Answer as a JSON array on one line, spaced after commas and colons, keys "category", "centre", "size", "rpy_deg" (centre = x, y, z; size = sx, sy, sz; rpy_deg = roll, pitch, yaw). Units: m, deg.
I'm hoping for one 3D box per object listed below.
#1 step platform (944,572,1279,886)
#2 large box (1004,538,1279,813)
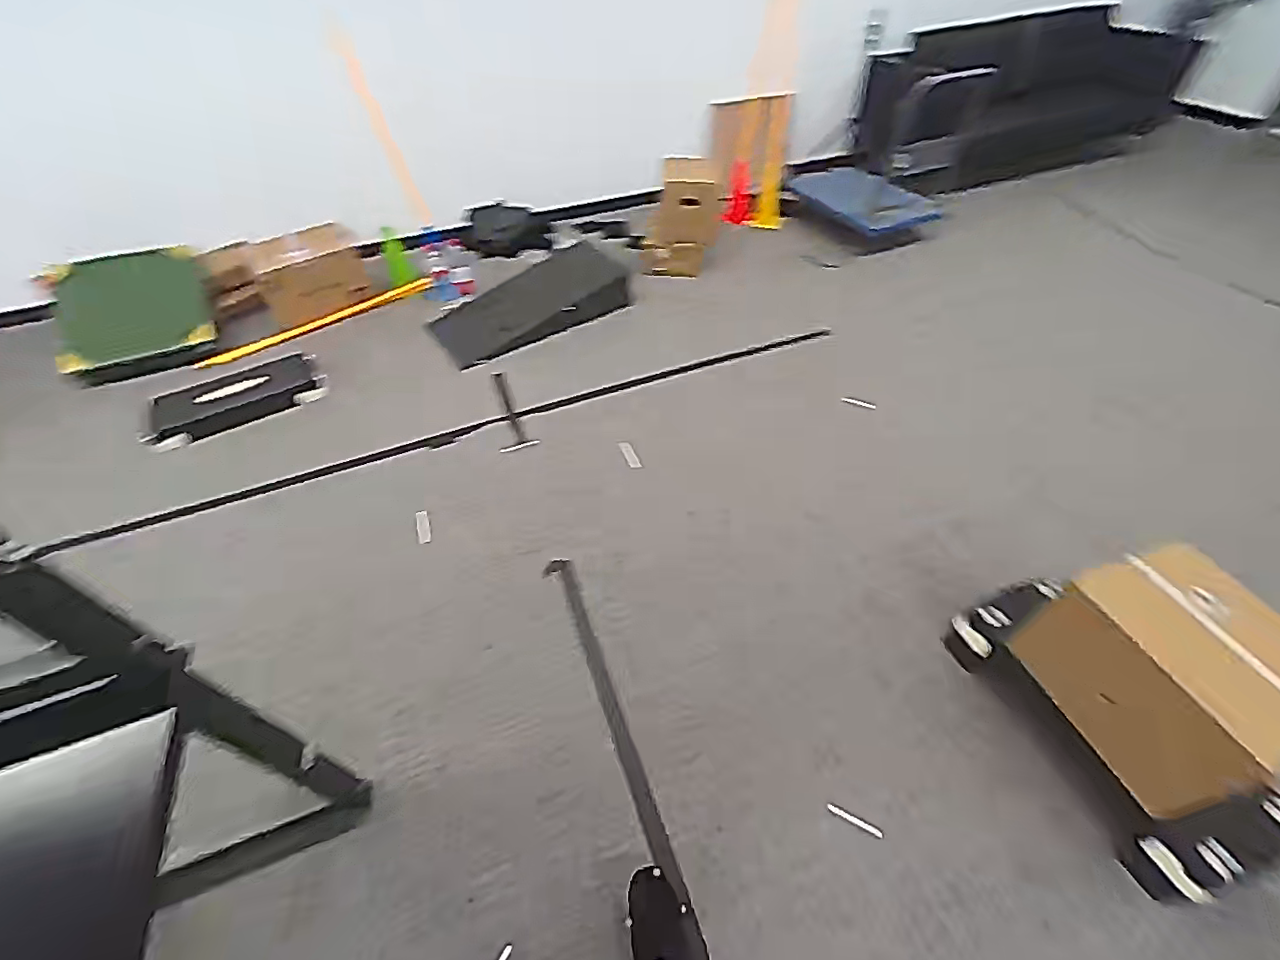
[{"category": "step platform", "centre": [1.095, 0.556, 1.329], "size": [0.286, 0.204, 0.684], "rpy_deg": [-13, 47, -10]}, {"category": "large box", "centre": [1.104, 0.403, 1.145], "size": [0.320, 0.320, 0.408], "rpy_deg": [-15, 47, -12]}]
